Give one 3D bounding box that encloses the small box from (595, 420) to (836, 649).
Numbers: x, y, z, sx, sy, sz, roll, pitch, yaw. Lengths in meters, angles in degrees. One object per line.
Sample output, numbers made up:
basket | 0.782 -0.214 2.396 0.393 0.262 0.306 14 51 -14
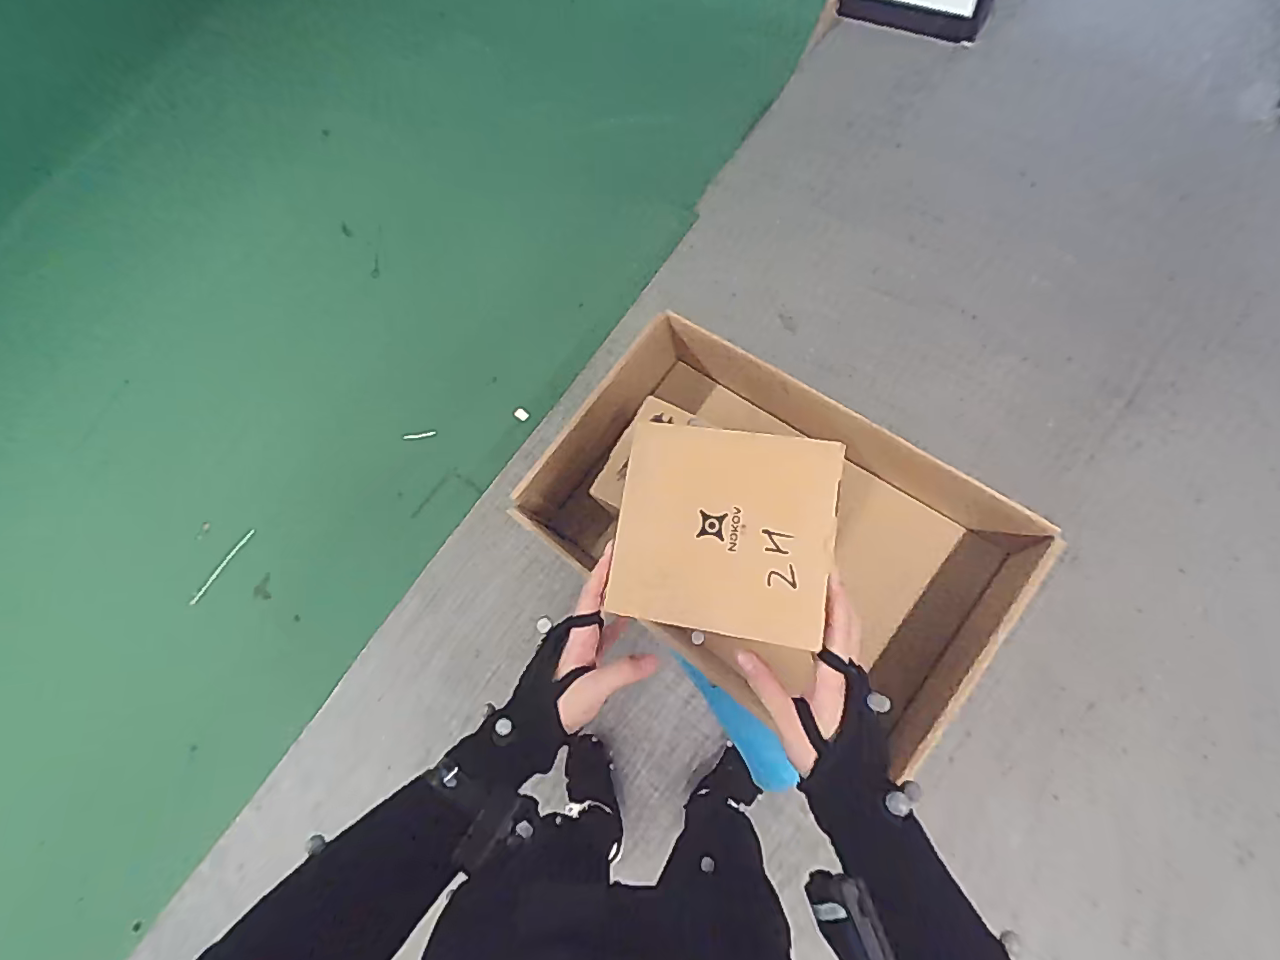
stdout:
small box | 0.075 0.052 0.513 0.179 0.176 0.168 7 82 12
